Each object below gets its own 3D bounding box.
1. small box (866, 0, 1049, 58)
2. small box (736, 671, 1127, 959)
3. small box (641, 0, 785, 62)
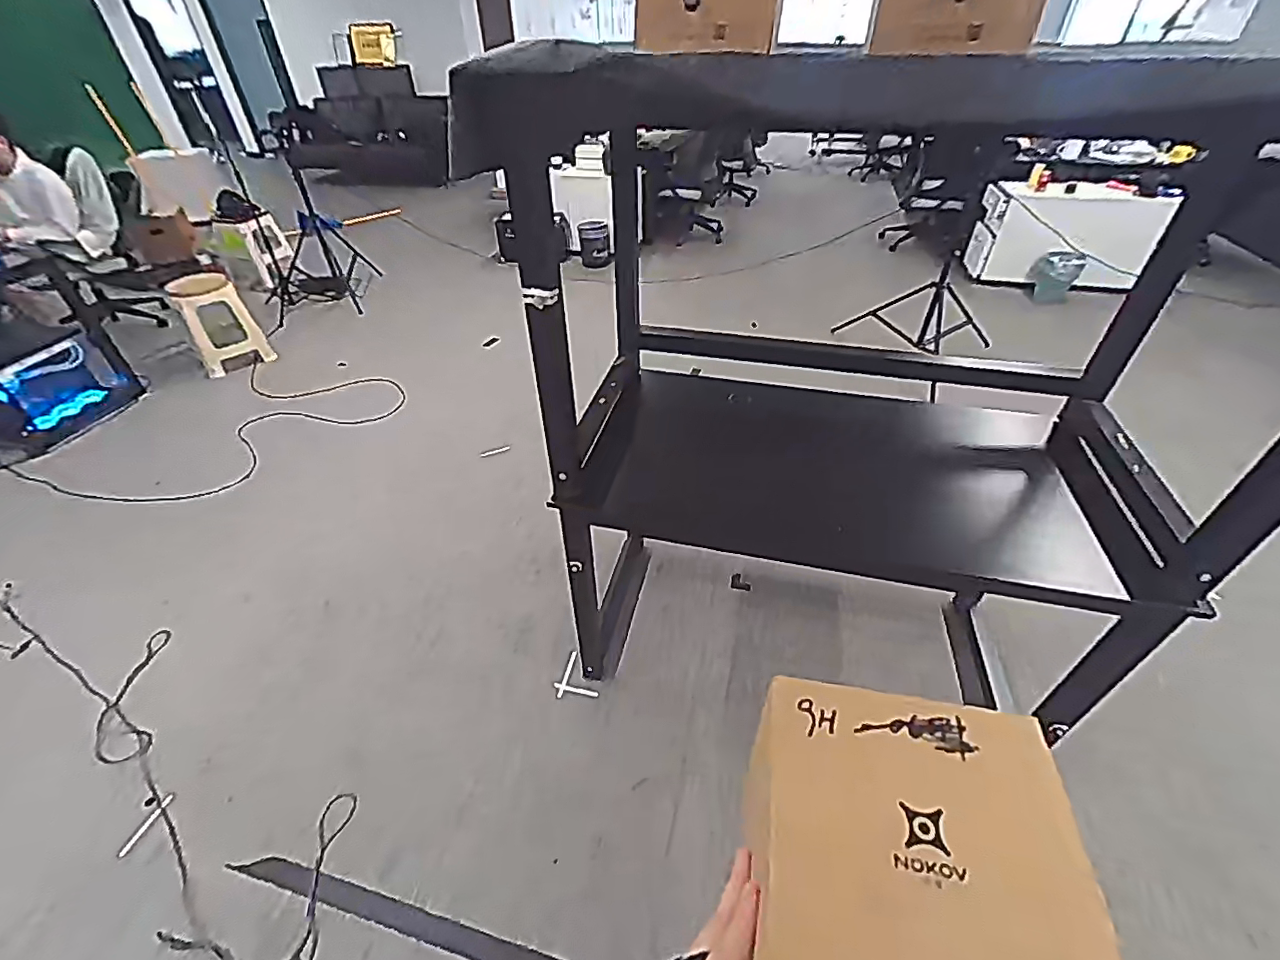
[{"bbox_3d":[0.362,-0.584,0.605,0.168,0.176,0.179,9,39,12],"label":"small box"},{"bbox_3d":[0.154,0.253,0.339,0.168,0.176,0.179,7,43,9],"label":"small box"},{"bbox_3d":[0.097,-0.624,0.660,0.168,0.176,0.179,9,40,10],"label":"small box"}]
